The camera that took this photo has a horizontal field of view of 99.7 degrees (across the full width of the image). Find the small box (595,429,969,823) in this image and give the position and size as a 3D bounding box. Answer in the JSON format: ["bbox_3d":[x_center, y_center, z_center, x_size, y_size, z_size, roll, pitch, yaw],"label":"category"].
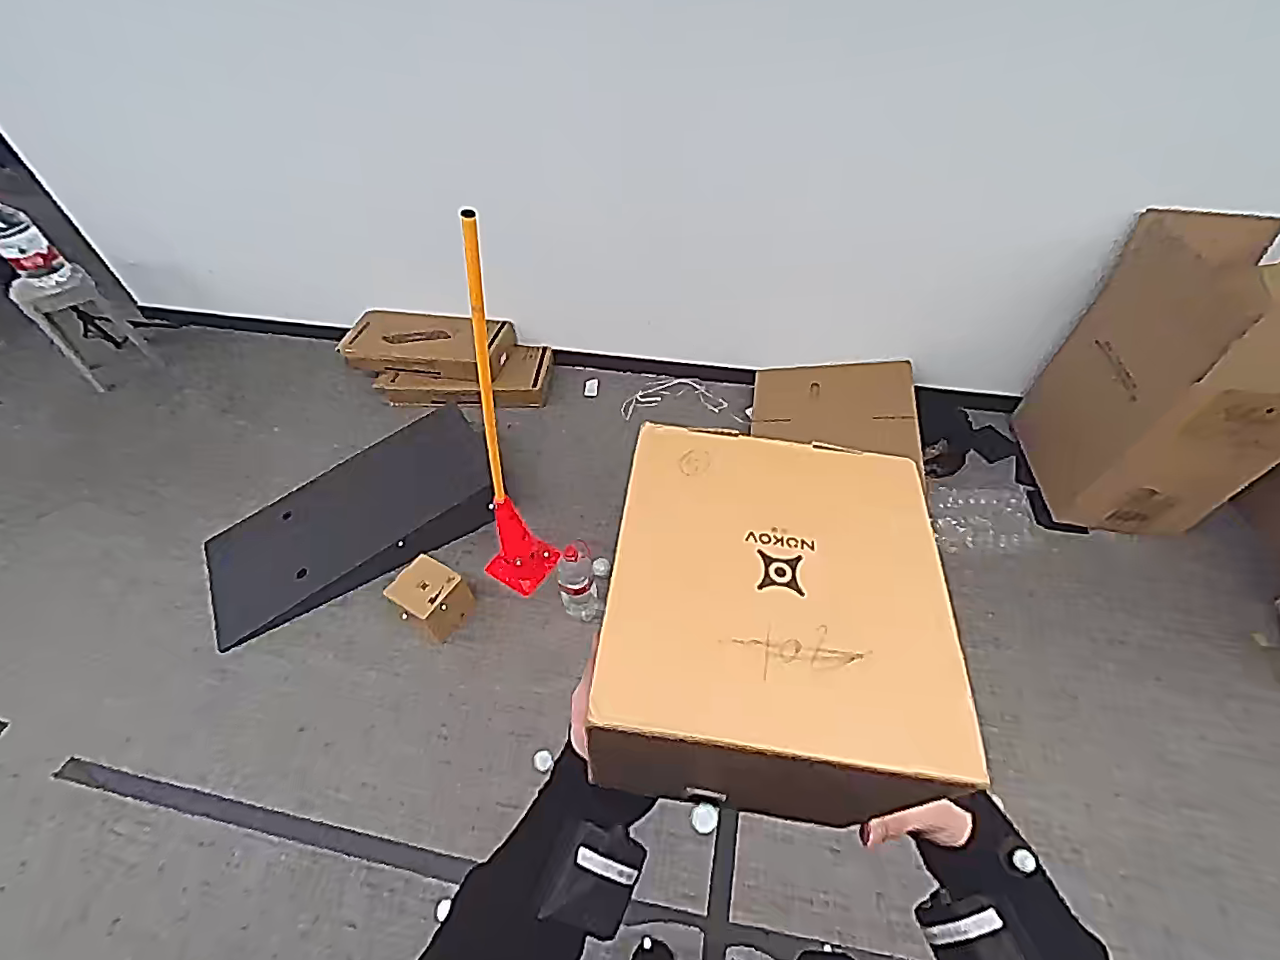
[{"bbox_3d":[0.066,0.097,0.345,0.168,0.176,0.179,9,52,3],"label":"small box"}]
